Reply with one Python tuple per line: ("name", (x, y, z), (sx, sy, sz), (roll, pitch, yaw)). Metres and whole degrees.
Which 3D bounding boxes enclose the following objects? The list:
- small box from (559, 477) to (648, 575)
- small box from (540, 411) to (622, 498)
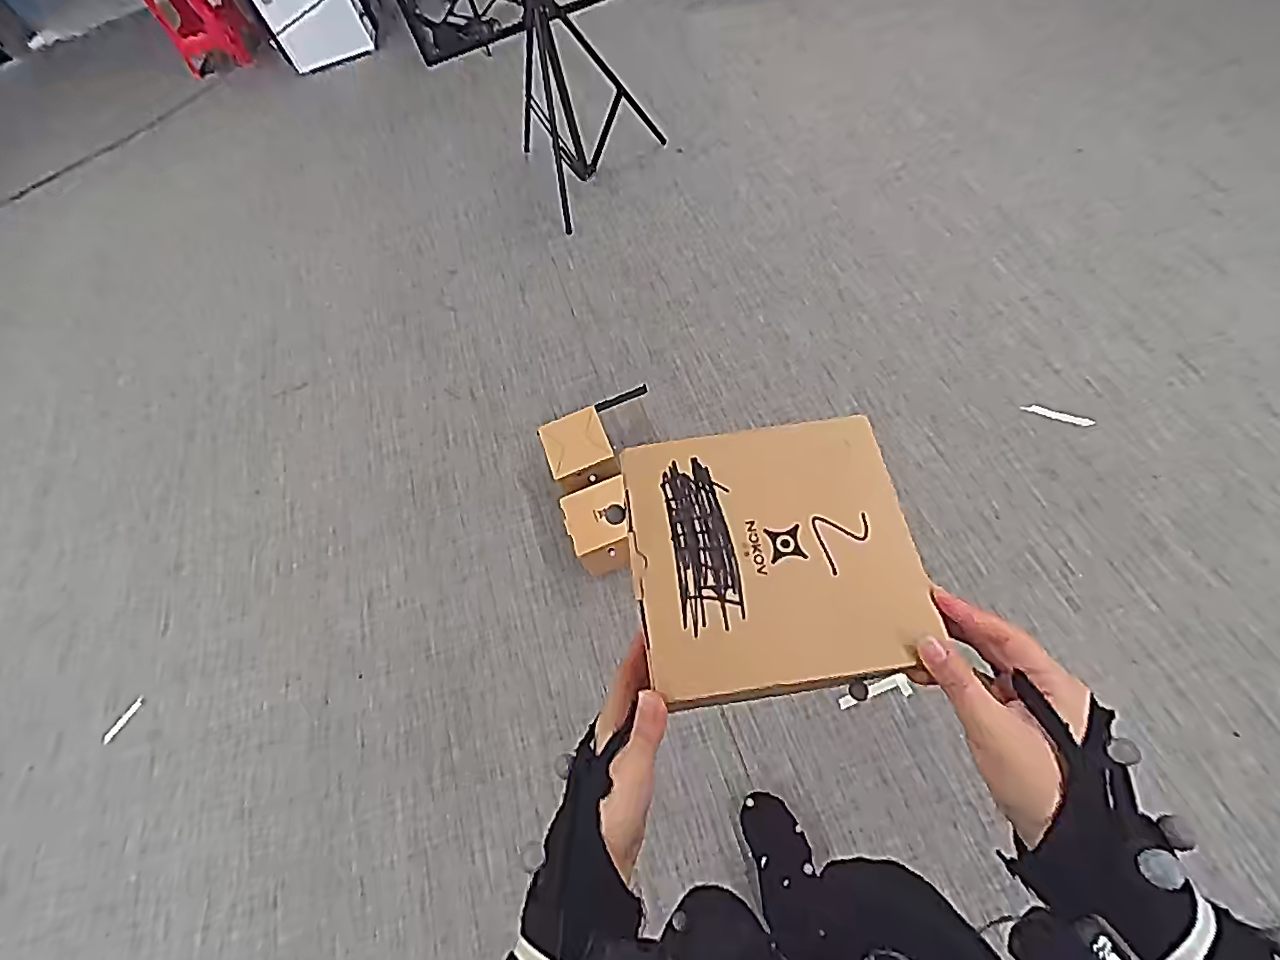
("small box", (-0.085, 0.123, 1.388), (0.179, 0.176, 0.168), (-22, 62, 0))
("small box", (-0.162, -0.062, 1.489), (0.168, 0.176, 0.179), (-23, 62, -1))
